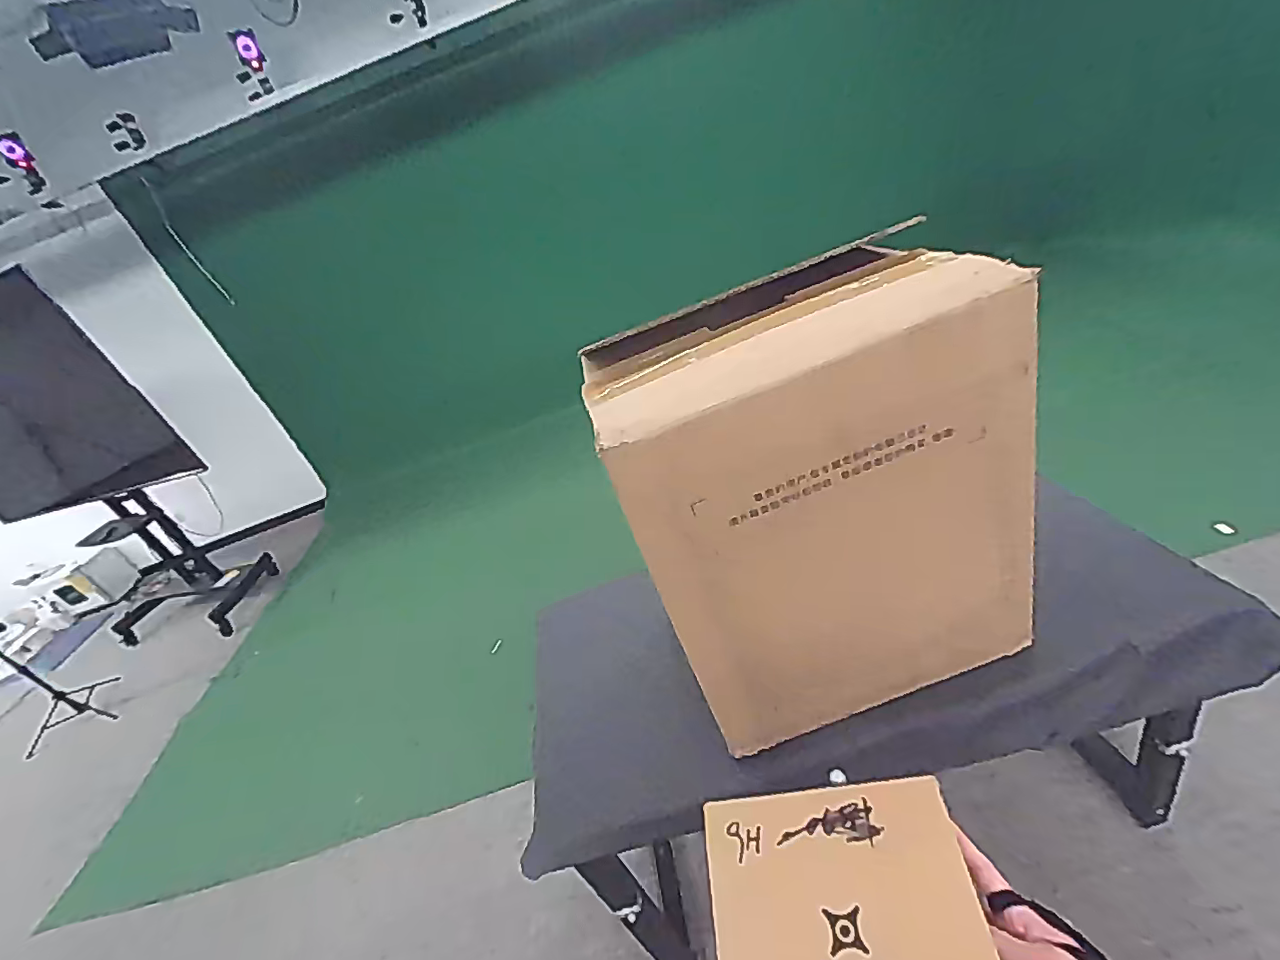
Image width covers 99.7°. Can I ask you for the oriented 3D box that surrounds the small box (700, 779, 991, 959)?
[{"bbox_3d":[0.154,0.335,0.389,0.168,0.176,0.179,-16,48,14],"label":"small box"}]
